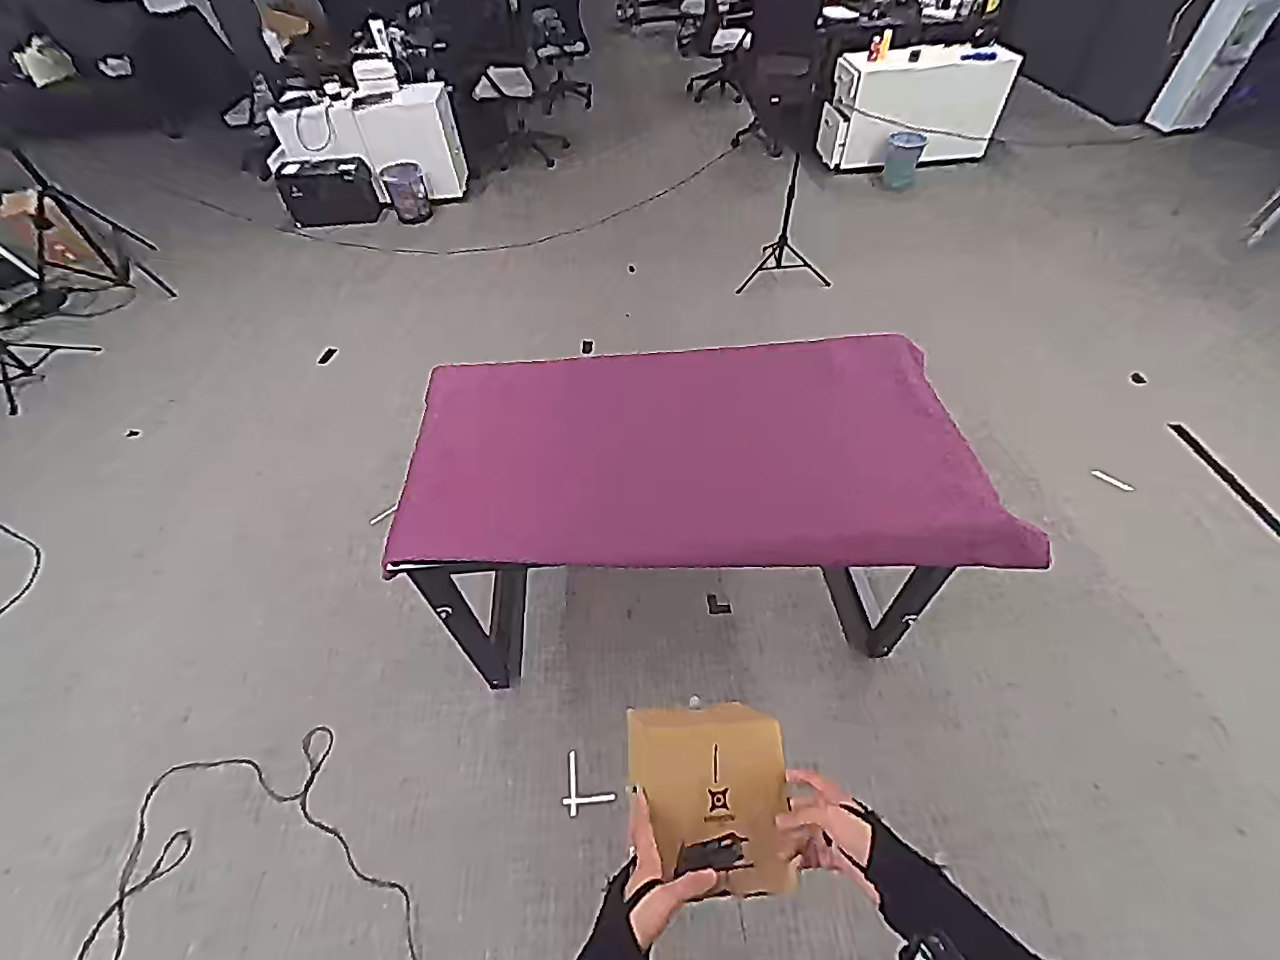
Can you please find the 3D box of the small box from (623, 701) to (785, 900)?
[{"bbox_3d":[0.069,0.387,0.685,0.168,0.176,0.179,0,74,-8],"label":"small box"}]
